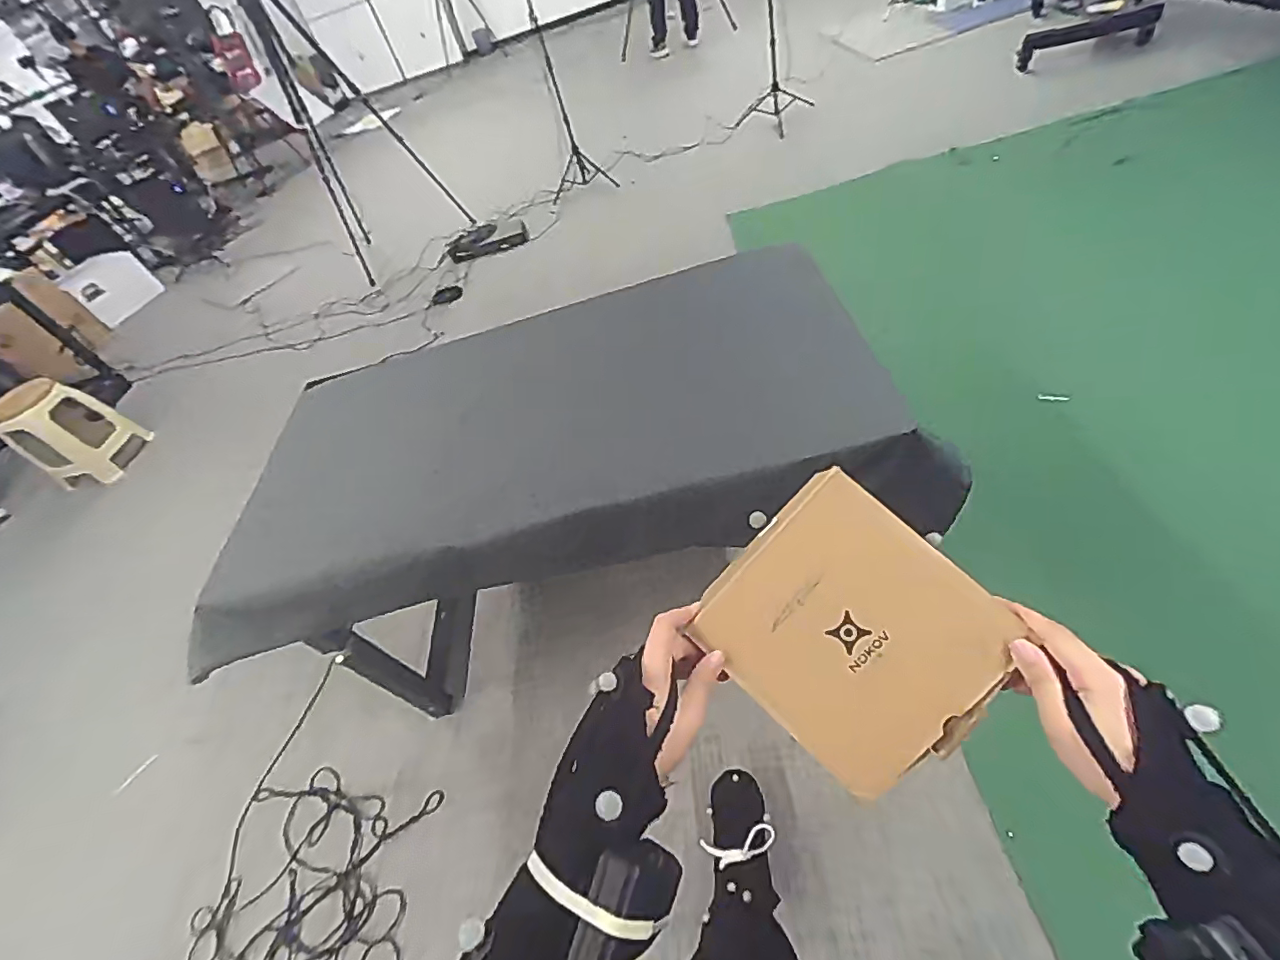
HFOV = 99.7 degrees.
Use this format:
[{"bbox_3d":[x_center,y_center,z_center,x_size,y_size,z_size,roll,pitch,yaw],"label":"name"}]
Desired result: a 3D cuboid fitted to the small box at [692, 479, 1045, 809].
[{"bbox_3d":[0.170,0.115,0.456,0.179,0.176,0.168,42,96,11],"label":"small box"}]
